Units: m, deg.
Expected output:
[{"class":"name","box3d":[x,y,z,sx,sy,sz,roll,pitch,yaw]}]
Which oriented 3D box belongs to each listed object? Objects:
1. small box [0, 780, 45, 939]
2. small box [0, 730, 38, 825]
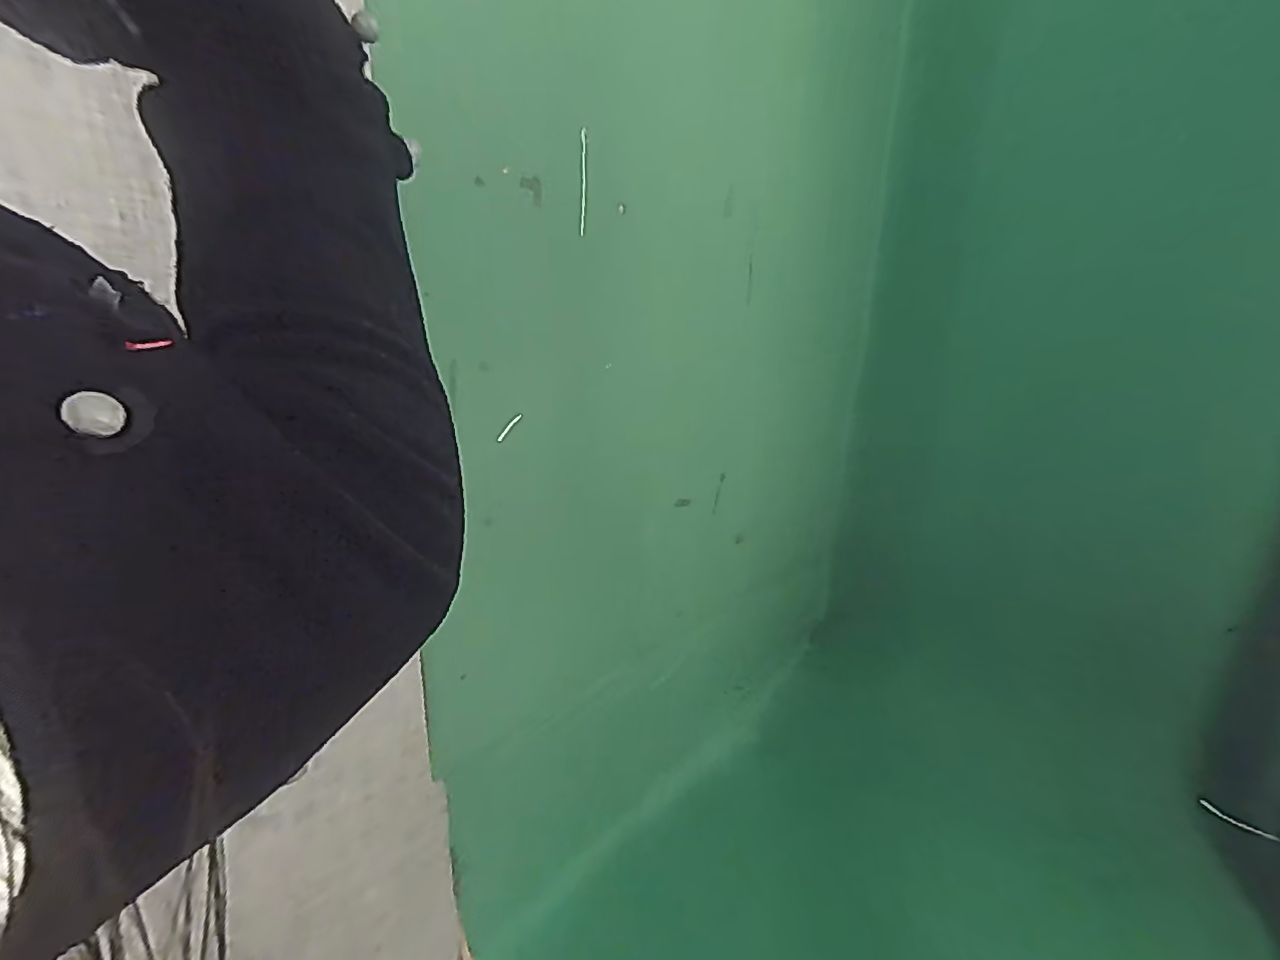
[{"class":"small box","box3d":[-1.080,0.626,0.855,0.168,0.176,0.179,-14,110,-48]},{"class":"small box","box3d":[-1.205,0.584,0.952,0.179,0.176,0.168,-11,110,-46]}]
